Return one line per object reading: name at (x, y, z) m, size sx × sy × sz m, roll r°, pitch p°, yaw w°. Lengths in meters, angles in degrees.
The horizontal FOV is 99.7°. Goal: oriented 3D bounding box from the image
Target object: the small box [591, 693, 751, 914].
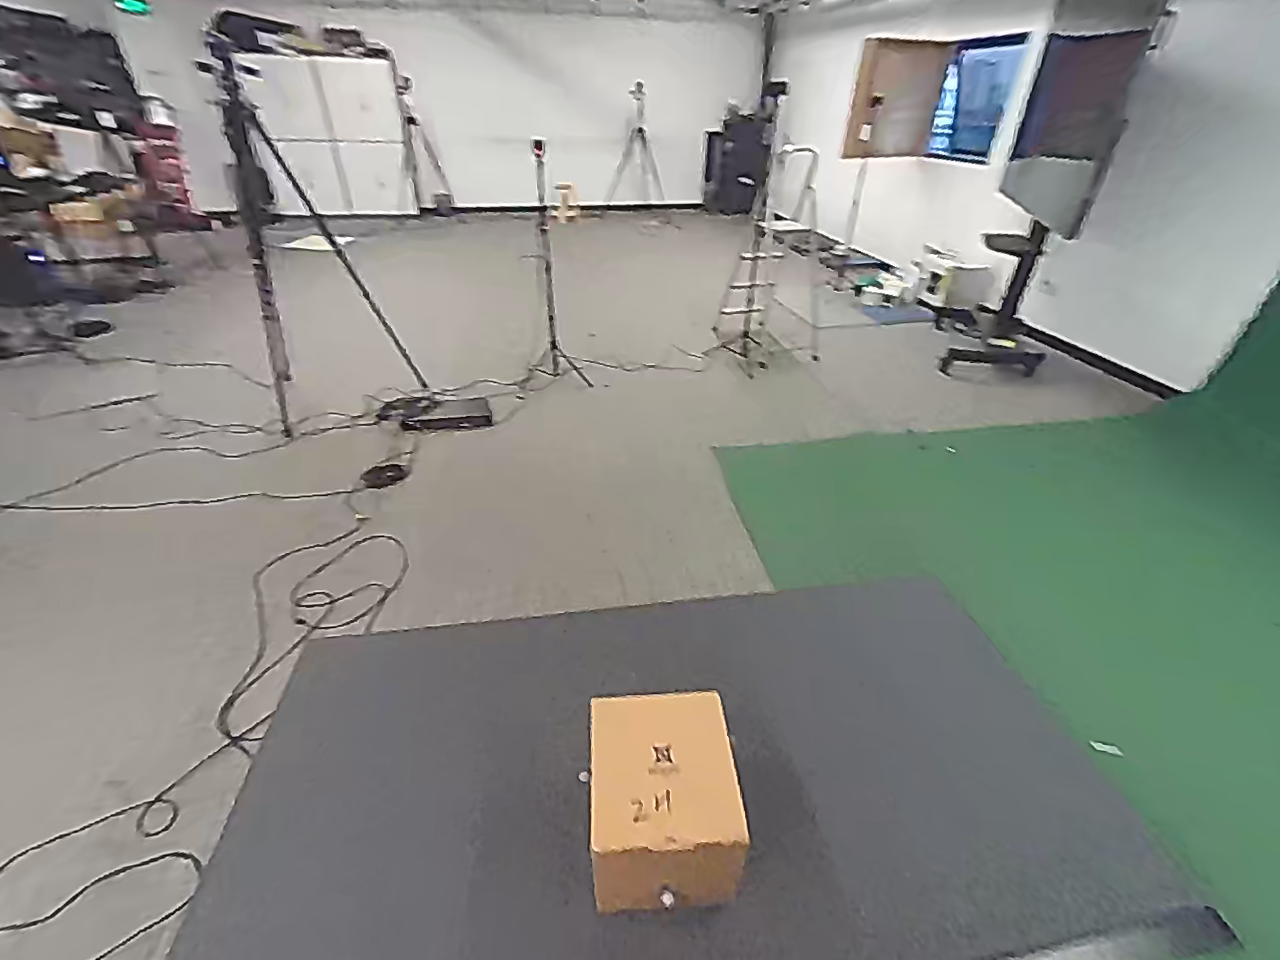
small box at (0.026, 0.386, 0.656) m, size 0.168 × 0.176 × 0.179 m, roll -2°, pitch 34°, yaw -3°
